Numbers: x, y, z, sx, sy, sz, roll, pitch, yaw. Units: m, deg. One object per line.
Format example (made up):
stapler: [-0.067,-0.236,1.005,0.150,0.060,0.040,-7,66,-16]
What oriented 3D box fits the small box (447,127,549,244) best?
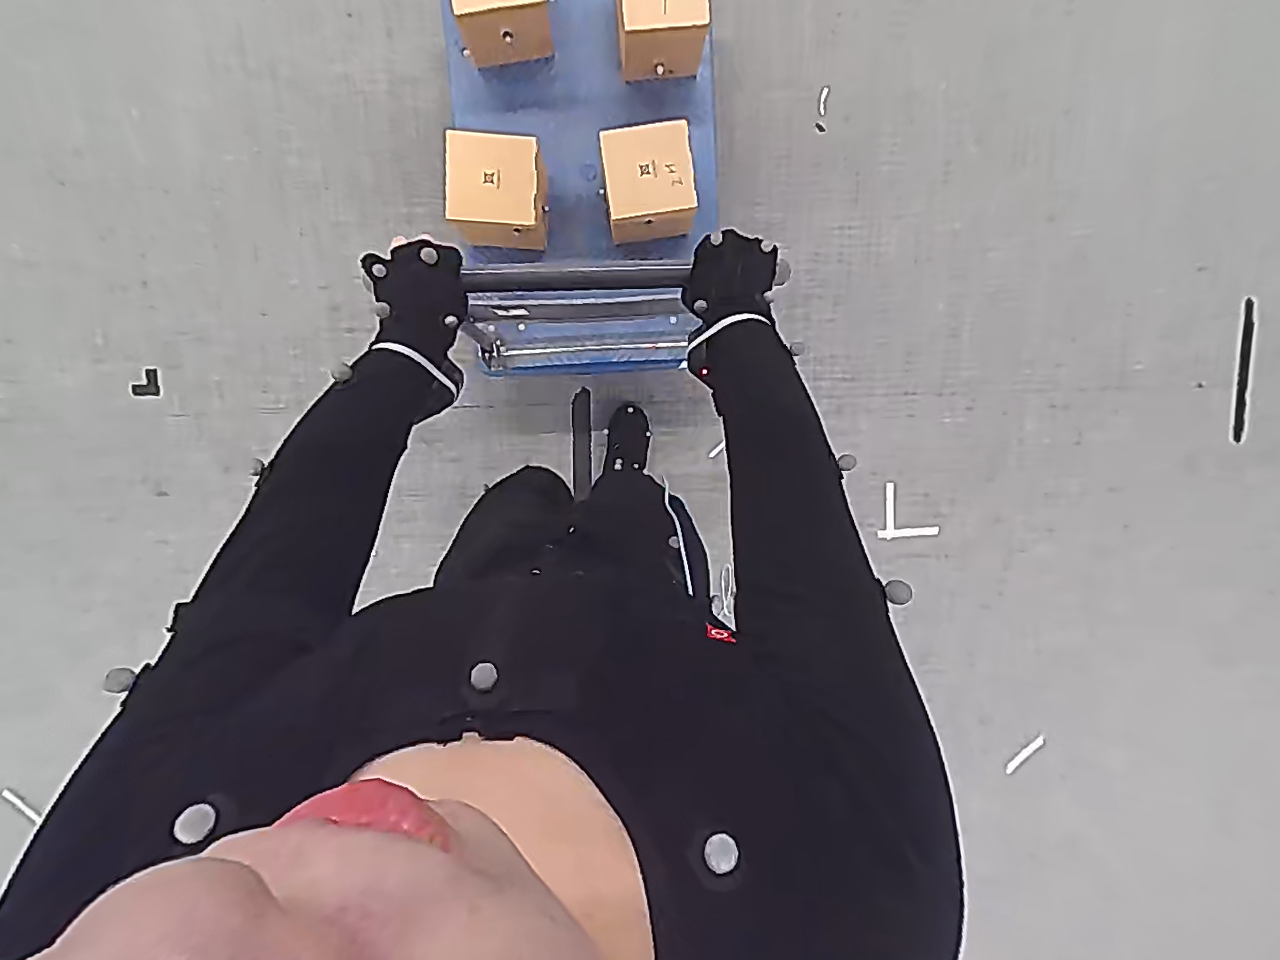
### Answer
small box: [-0.291,-0.606,1.132,0.179,0.176,0.168,2,97,-4]

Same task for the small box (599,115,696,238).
small box: [0.015,-0.627,1.138,0.179,0.176,0.168,-9,98,0]

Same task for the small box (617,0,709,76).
small box: [0.041,-0.963,1.092,0.168,0.176,0.179,-6,99,-1]
